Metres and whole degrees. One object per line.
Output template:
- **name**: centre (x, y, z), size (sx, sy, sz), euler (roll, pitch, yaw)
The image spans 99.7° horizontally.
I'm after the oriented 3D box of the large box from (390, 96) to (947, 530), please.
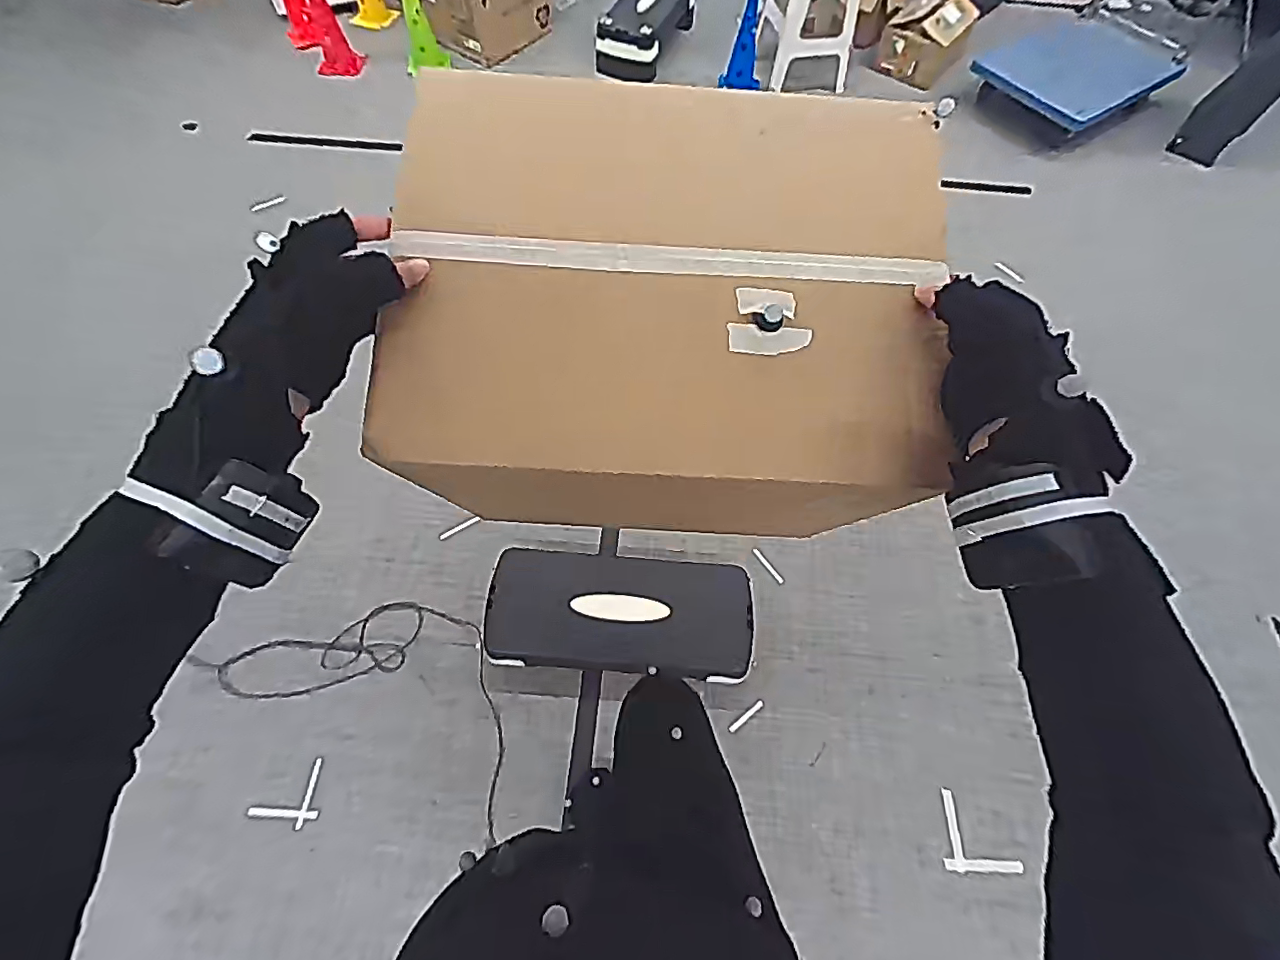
- **large box**: centre (0.019, -0.123, 0.555), size (0.408, 0.320, 0.320), euler (3, 79, -2)
